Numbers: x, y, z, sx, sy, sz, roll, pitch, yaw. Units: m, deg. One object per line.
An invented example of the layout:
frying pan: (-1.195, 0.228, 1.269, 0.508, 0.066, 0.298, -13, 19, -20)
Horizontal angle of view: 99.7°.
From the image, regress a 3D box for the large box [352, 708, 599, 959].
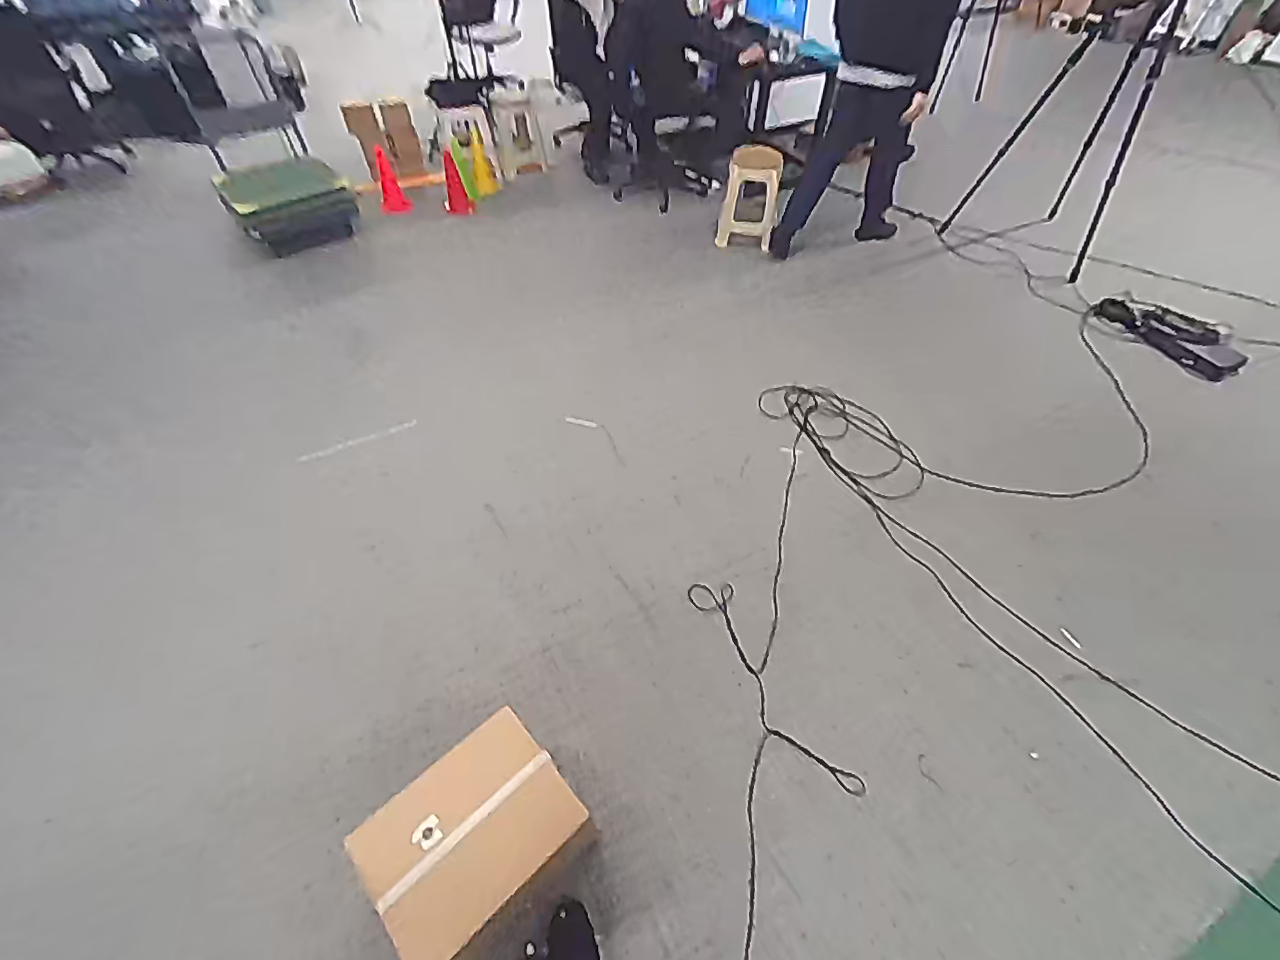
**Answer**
large box: (-0.346, 0.818, 1.236, 0.408, 0.320, 0.320, -36, 58, -26)
